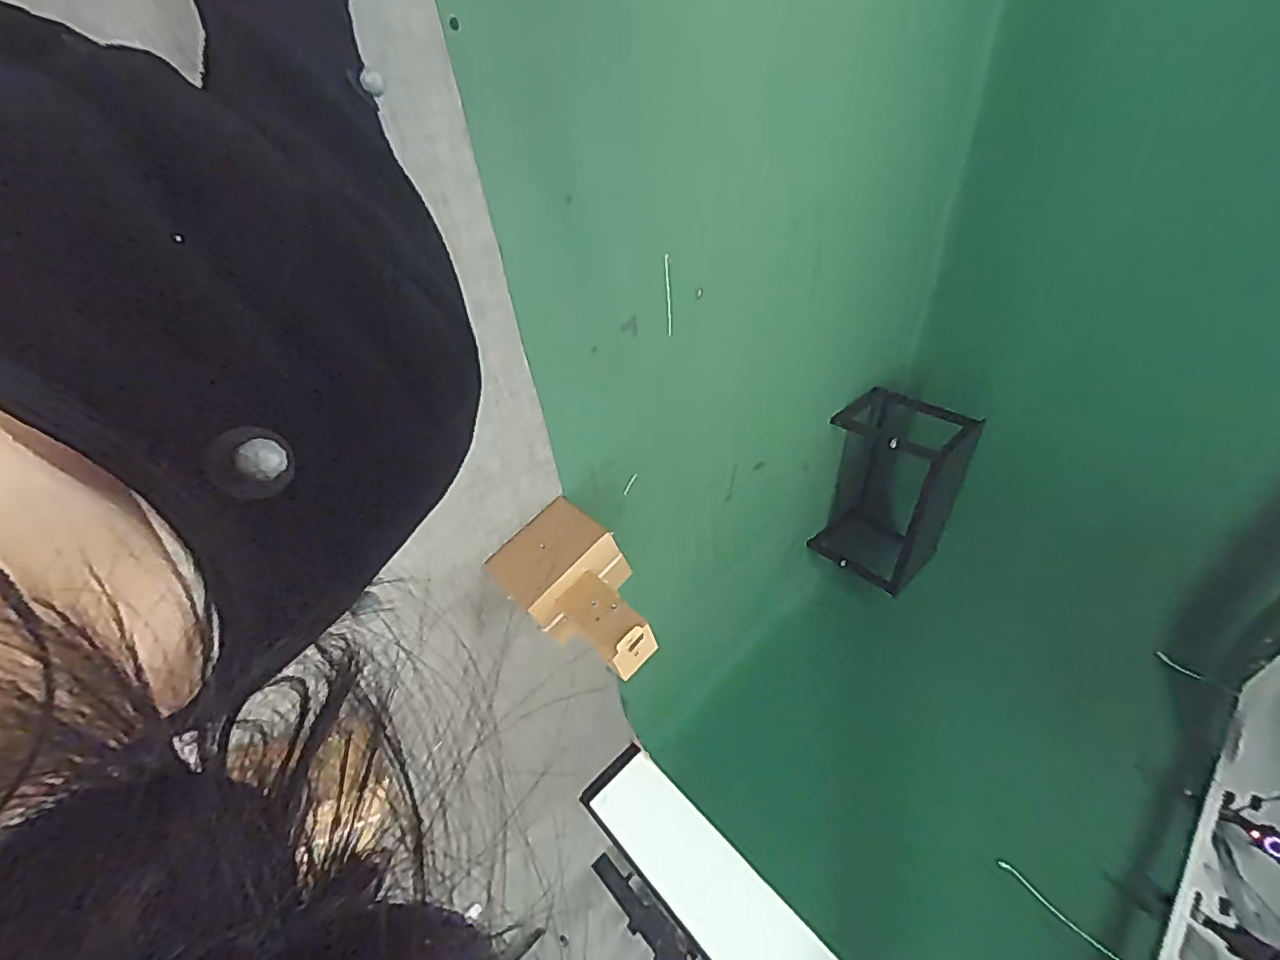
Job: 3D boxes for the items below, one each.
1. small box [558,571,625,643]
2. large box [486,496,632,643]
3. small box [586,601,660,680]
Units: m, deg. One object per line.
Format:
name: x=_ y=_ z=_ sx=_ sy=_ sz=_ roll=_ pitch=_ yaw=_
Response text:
small box: x=-0.164 y=0.463 z=1.951 sx=0.179 sy=0.176 sz=0.168 roll=-41 pitch=138 yaw=-20
large box: x=-0.310 y=0.343 z=2.109 sx=0.408 sy=0.320 sz=0.320 roll=-45 pitch=141 yaw=-18
small box: x=-0.060 y=0.540 z=1.849 sx=0.168 sy=0.176 sz=0.179 roll=-40 pitch=138 yaw=-22
